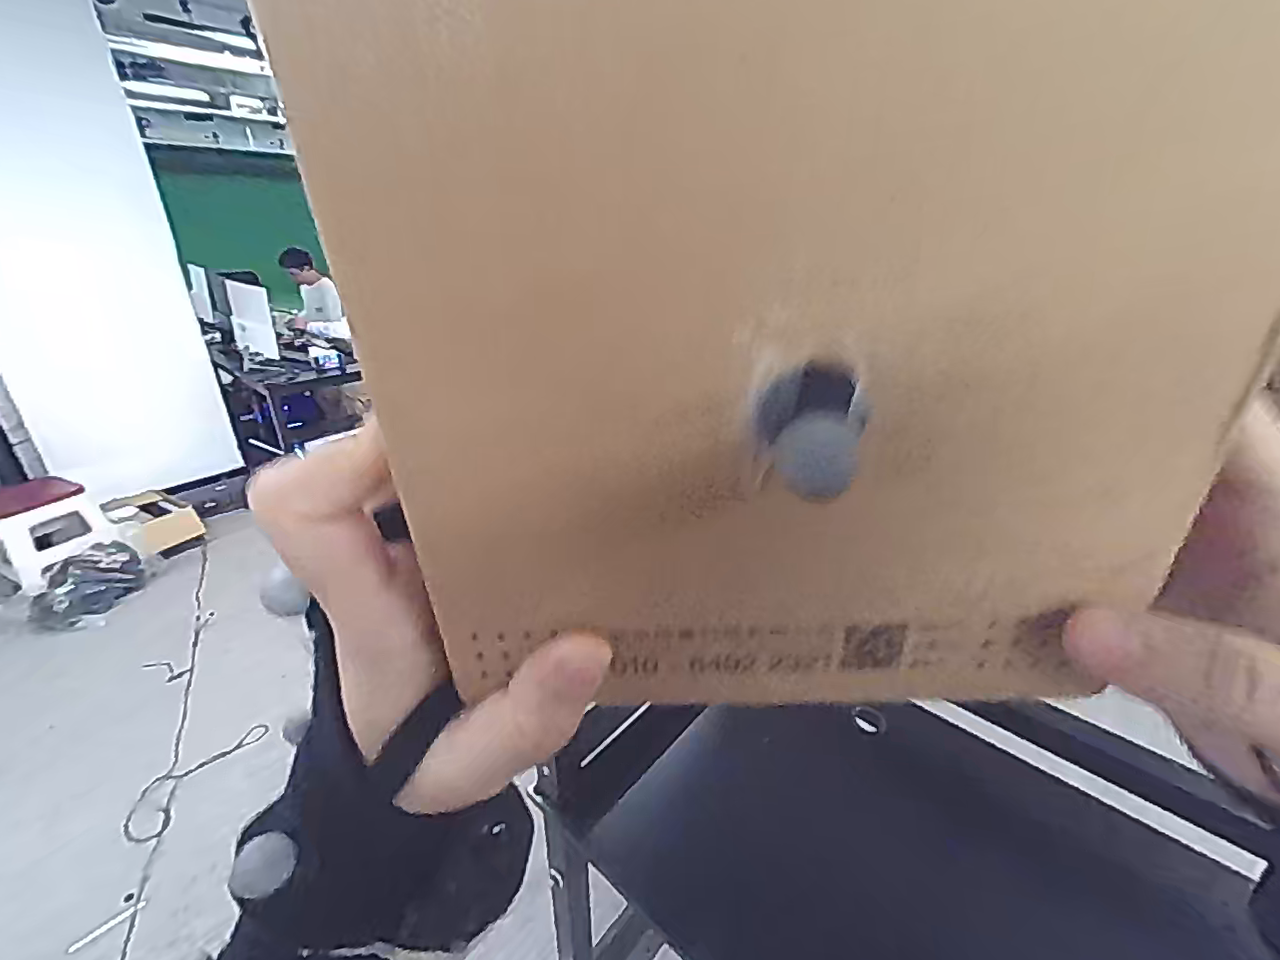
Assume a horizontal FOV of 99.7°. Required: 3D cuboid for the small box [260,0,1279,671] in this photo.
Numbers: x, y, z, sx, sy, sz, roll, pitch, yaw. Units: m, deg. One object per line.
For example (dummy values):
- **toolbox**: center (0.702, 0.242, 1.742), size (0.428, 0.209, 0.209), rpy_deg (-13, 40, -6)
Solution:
- **small box**: center (0.033, -0.058, 0.175), size (0.168, 0.176, 0.179), rpy_deg (-1, 29, 2)
